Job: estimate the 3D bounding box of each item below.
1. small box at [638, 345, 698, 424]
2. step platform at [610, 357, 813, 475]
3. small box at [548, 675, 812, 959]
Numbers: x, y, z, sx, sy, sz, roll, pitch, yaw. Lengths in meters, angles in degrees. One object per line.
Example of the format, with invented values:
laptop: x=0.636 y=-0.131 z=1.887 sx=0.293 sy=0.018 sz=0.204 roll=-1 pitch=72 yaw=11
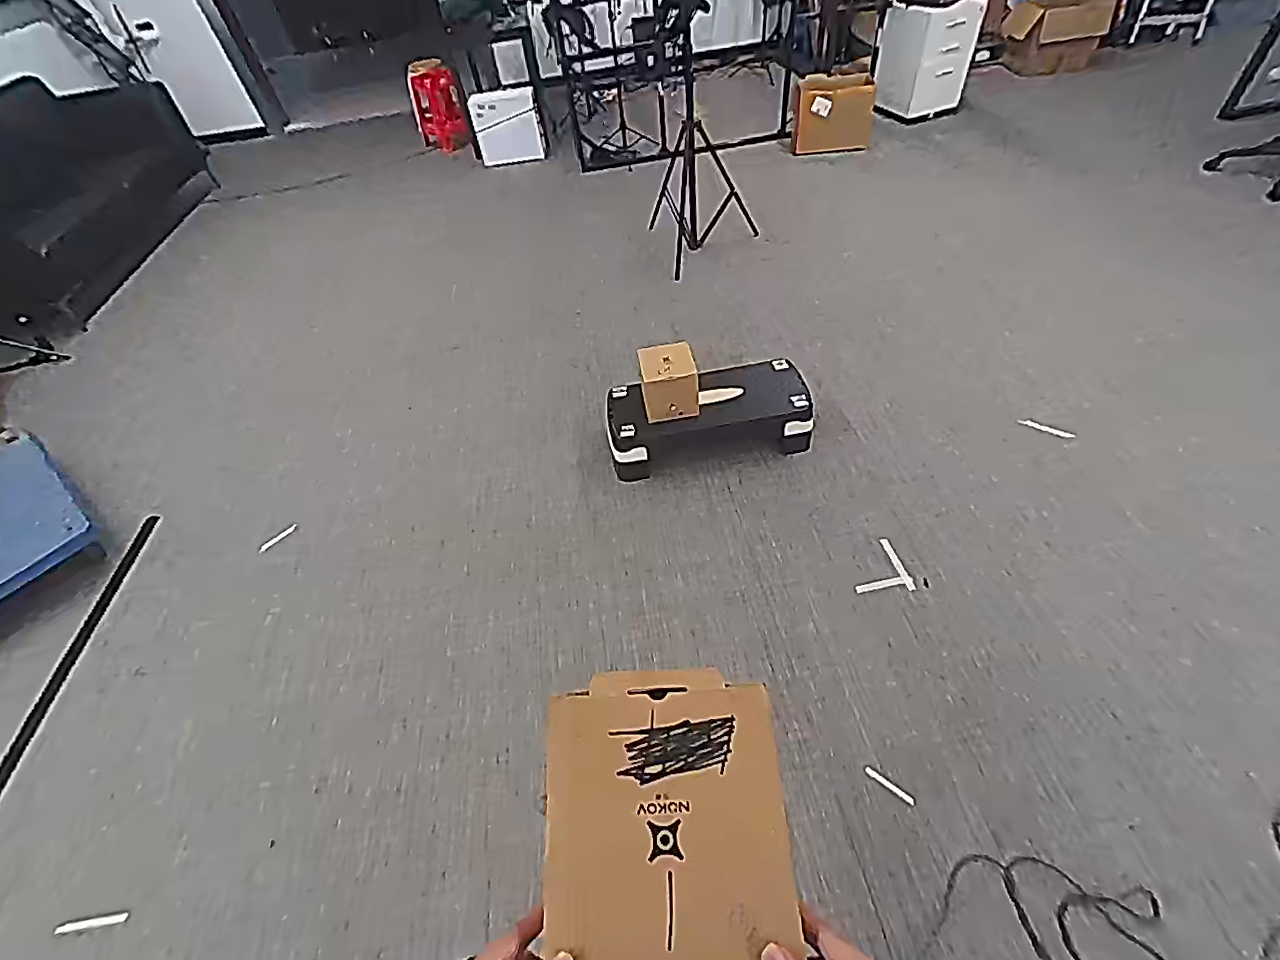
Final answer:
small box: x=0.088 y=-0.304 z=1.733 sx=0.168 sy=0.176 sz=0.179 roll=-10 pitch=48 yaw=0
step platform: x=0.237 y=-0.227 z=1.877 sx=0.684 sy=0.204 sz=0.286 roll=-11 pitch=48 yaw=0
small box: x=0.023 y=0.265 z=0.438 sx=0.168 sy=0.176 sz=0.179 roll=-3 pitch=63 yaw=0
